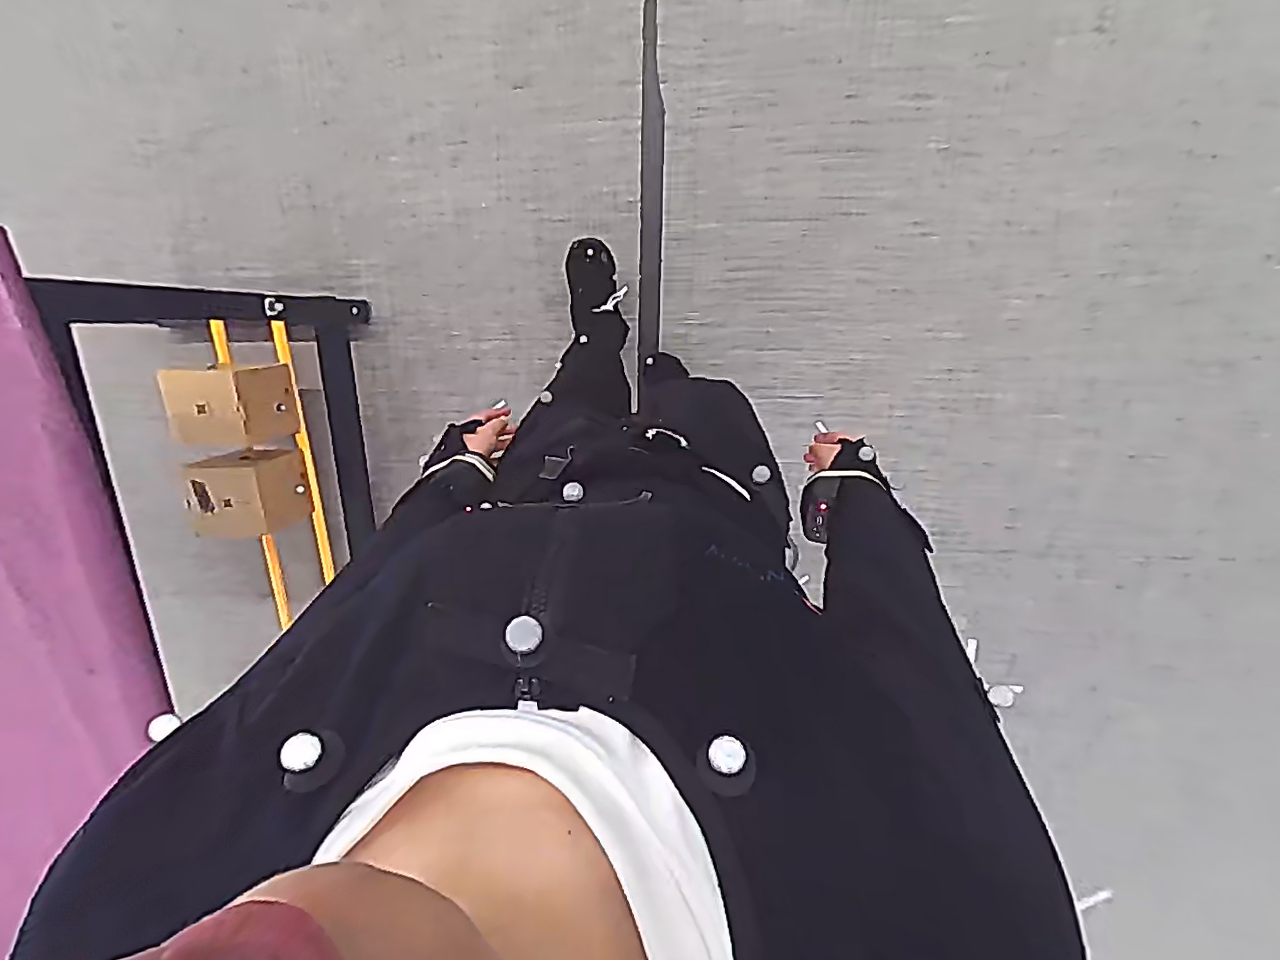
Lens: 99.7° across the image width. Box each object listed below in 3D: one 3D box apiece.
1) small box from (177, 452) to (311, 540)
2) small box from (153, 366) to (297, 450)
[{"bbox_3d":[-0.920,0.033,1.272,0.179,0.176,0.168,0,106,4],"label":"small box"},{"bbox_3d":[-0.919,-0.166,1.214,0.179,0.176,0.168,0,106,4],"label":"small box"}]
